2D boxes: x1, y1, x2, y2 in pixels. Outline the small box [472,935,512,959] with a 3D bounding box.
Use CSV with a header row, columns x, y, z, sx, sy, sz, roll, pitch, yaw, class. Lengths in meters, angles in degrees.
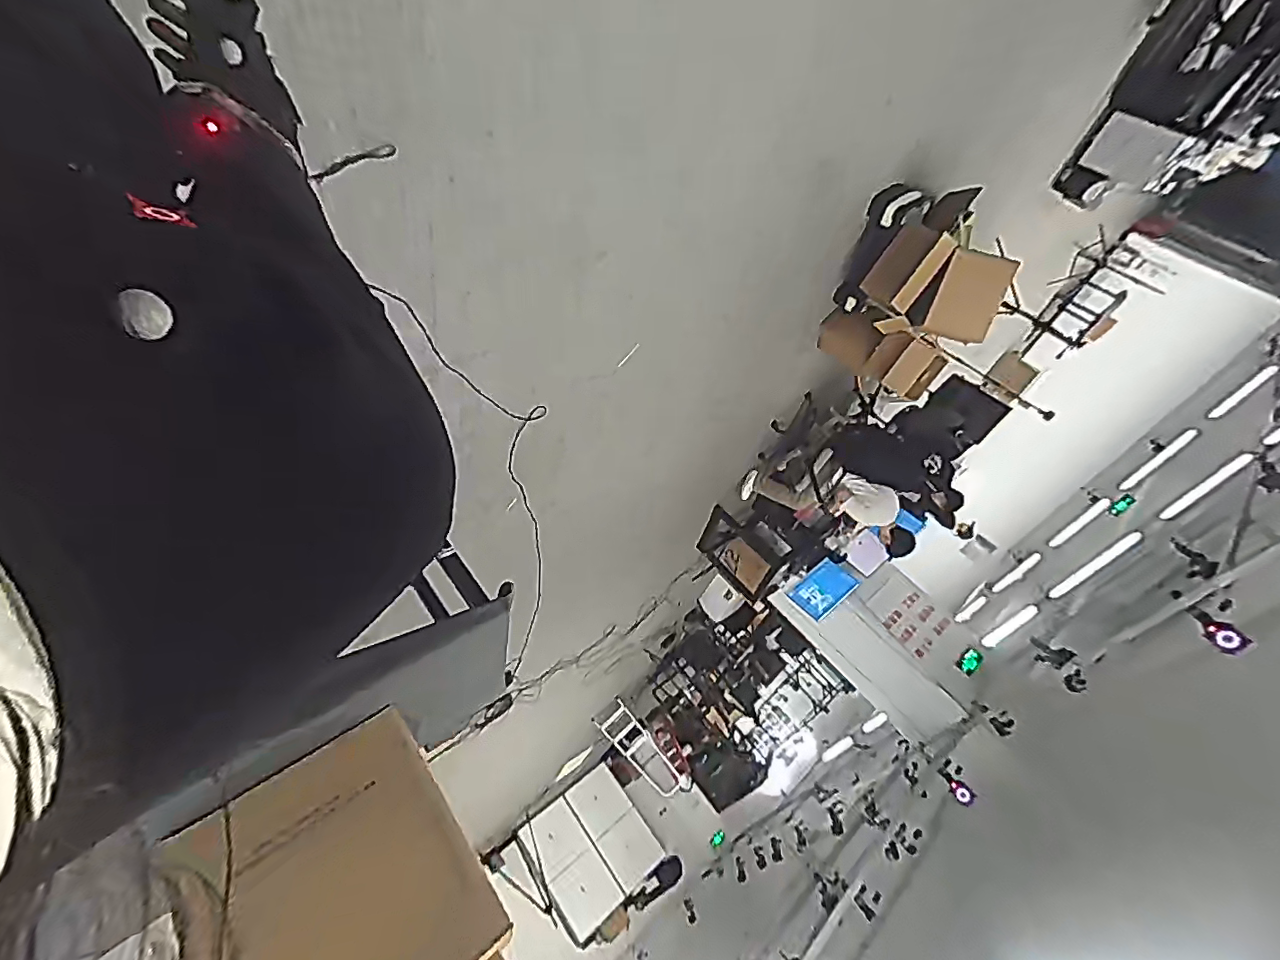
x,y,z,sx,sy,sz,roll,pitch,yaw,class
-0.357,1.199,1.234,0.179,0.176,0.168,-29,149,-32,small box
